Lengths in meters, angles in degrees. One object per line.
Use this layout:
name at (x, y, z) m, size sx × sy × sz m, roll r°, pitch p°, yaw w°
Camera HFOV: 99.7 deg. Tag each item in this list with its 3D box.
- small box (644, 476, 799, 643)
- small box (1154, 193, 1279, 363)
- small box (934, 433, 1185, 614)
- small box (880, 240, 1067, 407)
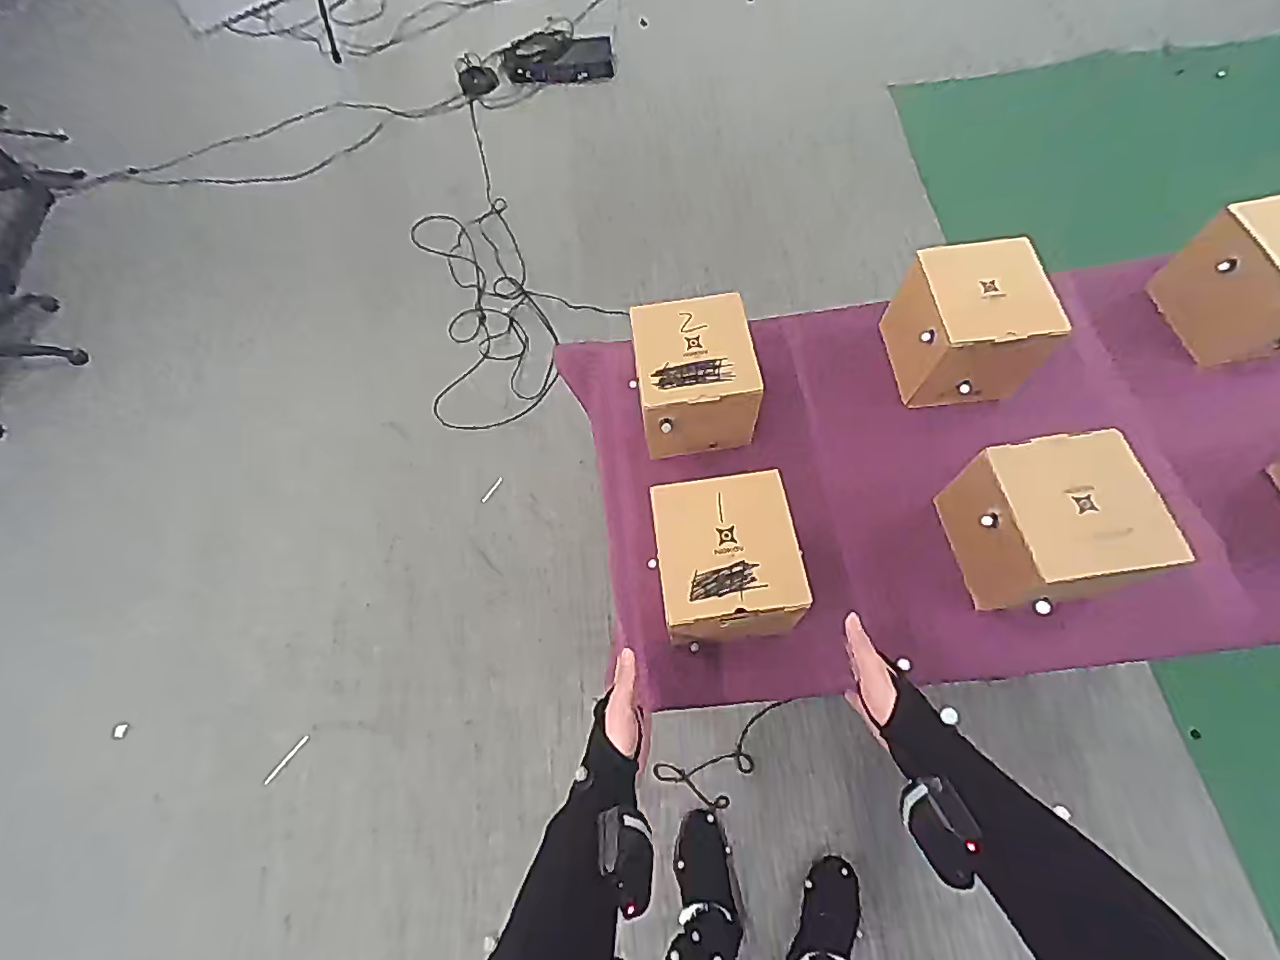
small box at (0.102, 0.116, 0.723) m, size 0.168 × 0.176 × 0.179 m, roll -8°, pitch 64°, yaw 2°
small box at (0.944, -0.304, 0.810) m, size 0.168 × 0.176 × 0.179 m, roll -10°, pitch 67°, yaw 5°
small box at (0.515, 0.063, 0.702) m, size 0.168 × 0.176 × 0.179 m, roll -9°, pitch 65°, yaw 3°
small box at (0.493, -0.234, 0.835) m, size 0.168 × 0.176 × 0.179 m, roll -6°, pitch 68°, yaw 3°
